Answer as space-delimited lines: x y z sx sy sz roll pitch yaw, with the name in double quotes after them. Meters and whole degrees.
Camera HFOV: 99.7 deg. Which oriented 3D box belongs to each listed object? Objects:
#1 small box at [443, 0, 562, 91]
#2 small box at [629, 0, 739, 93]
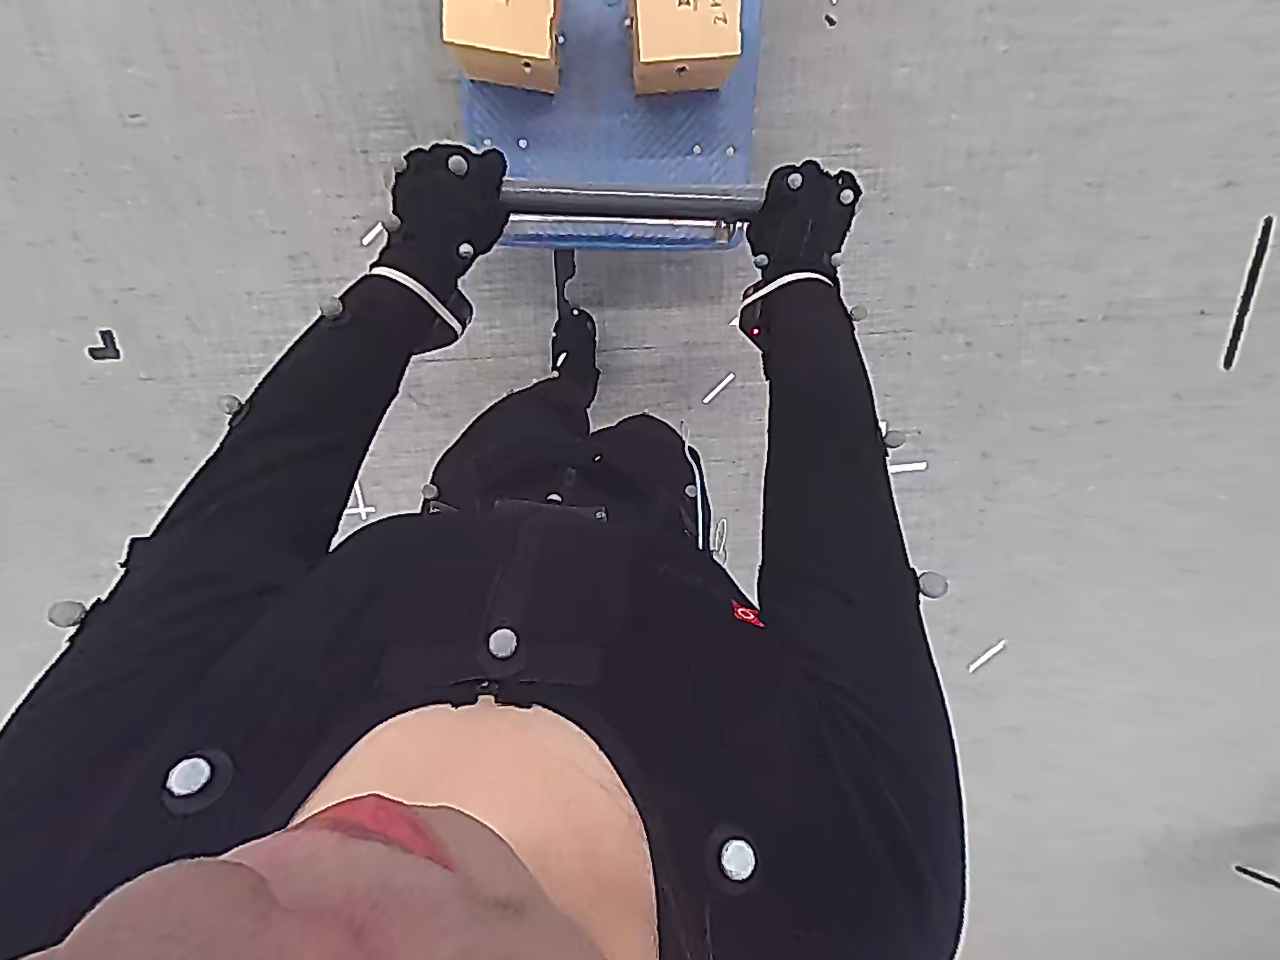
-0.234 -0.812 0.945 0.179 0.176 0.168 4 109 -8 "small box"
0.072 -0.816 0.967 0.179 0.176 0.168 -5 111 -2 "small box"
